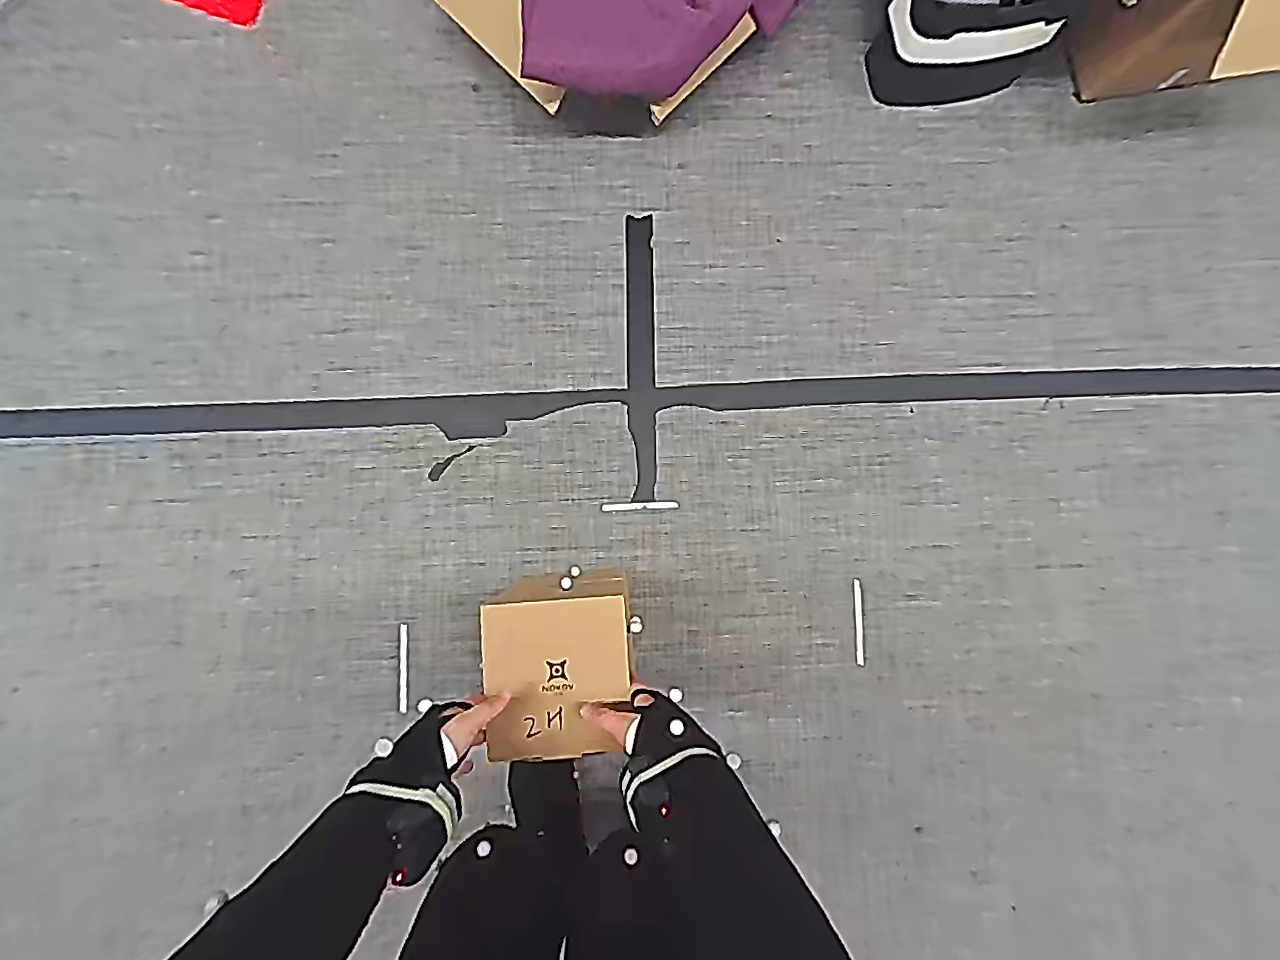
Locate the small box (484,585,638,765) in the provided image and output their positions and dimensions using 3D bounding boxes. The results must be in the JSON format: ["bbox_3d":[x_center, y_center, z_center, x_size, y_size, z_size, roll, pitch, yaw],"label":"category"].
[{"bbox_3d":[-0.091,0.227,0.675,0.168,0.176,0.179,-4,85,-1],"label":"small box"}]

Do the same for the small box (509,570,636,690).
[{"bbox_3d":[-0.100,0.238,0.858,0.179,0.176,0.168,-5,87,-3],"label":"small box"}]
